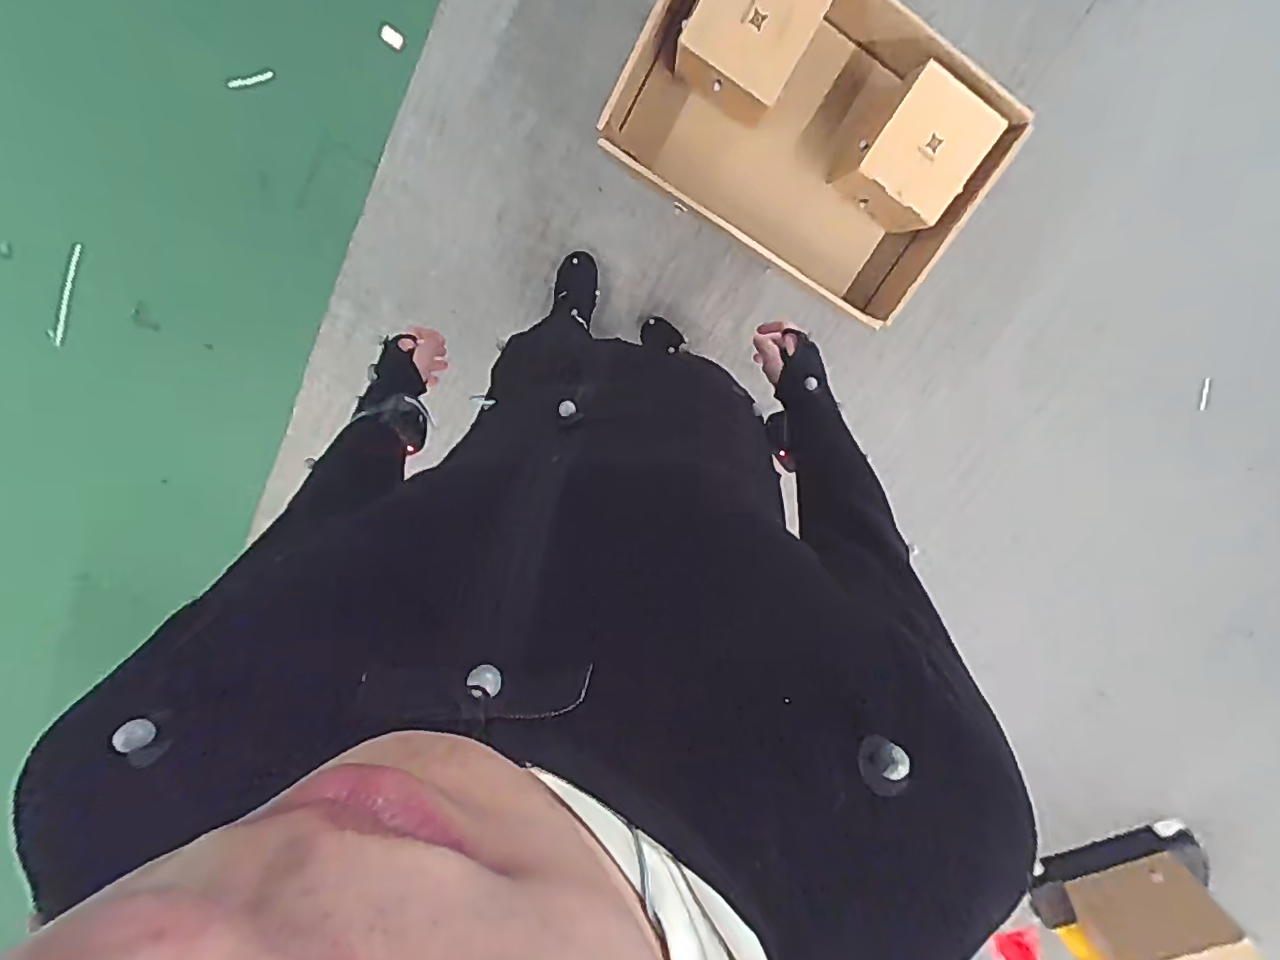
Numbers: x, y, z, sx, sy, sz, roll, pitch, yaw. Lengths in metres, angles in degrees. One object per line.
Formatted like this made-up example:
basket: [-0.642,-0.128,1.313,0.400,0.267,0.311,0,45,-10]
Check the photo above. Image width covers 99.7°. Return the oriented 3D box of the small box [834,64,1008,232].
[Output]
small box: [0.469,-0.556,0.937,0.168,0.176,0.179,30,109,-10]
